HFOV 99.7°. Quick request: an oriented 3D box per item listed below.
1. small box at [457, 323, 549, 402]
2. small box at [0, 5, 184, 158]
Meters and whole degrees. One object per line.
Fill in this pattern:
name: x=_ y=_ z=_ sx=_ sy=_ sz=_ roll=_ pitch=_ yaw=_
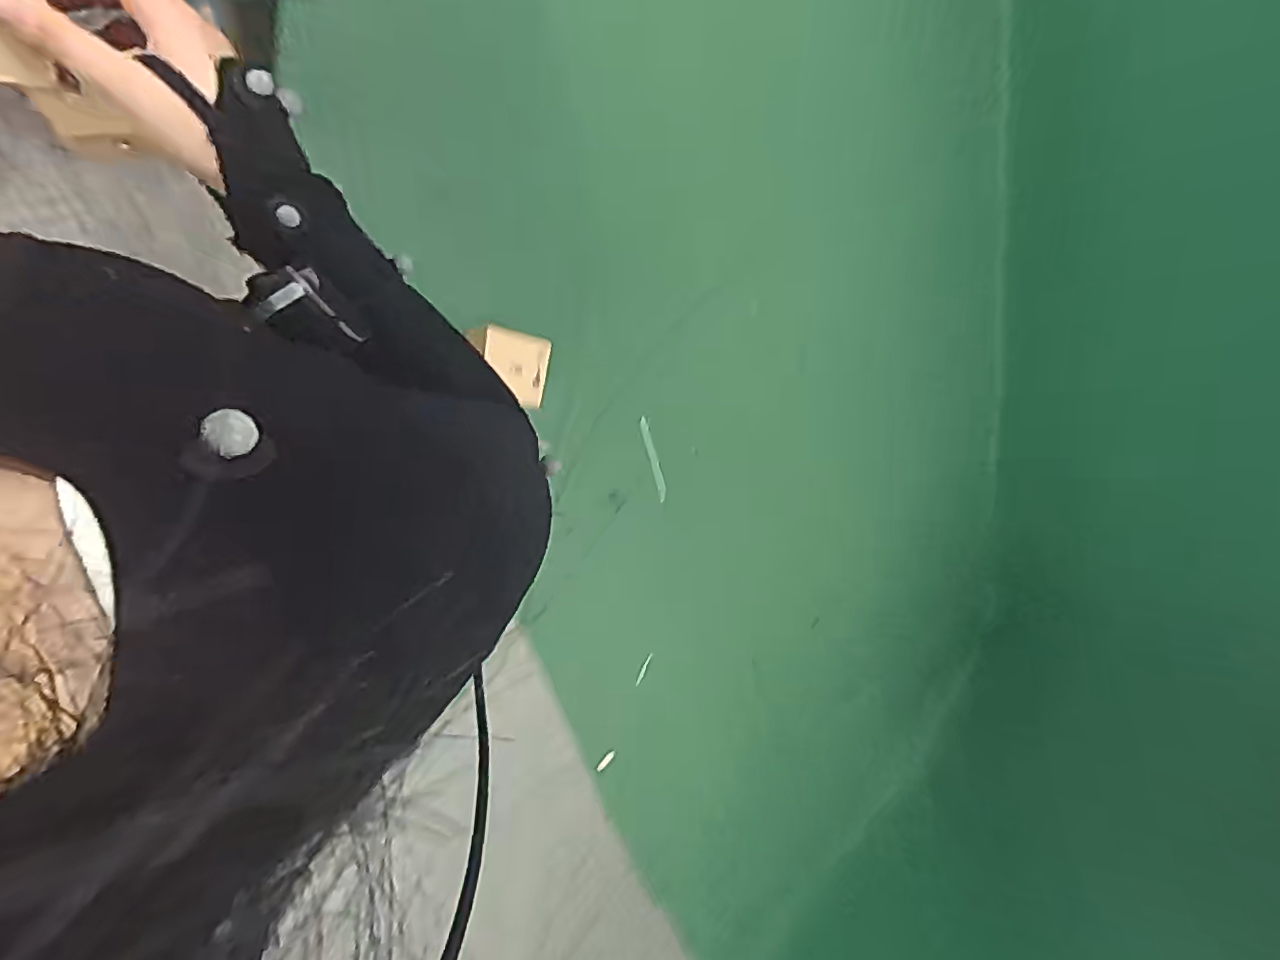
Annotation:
small box: x=-0.365 y=-0.306 z=1.419 sx=0.179 sy=0.176 sz=0.168 roll=7 pitch=98 yaw=-37
small box: x=-0.919 y=-0.662 z=0.915 sx=0.179 sy=0.176 sz=0.168 roll=-26 pitch=117 yaw=-29
